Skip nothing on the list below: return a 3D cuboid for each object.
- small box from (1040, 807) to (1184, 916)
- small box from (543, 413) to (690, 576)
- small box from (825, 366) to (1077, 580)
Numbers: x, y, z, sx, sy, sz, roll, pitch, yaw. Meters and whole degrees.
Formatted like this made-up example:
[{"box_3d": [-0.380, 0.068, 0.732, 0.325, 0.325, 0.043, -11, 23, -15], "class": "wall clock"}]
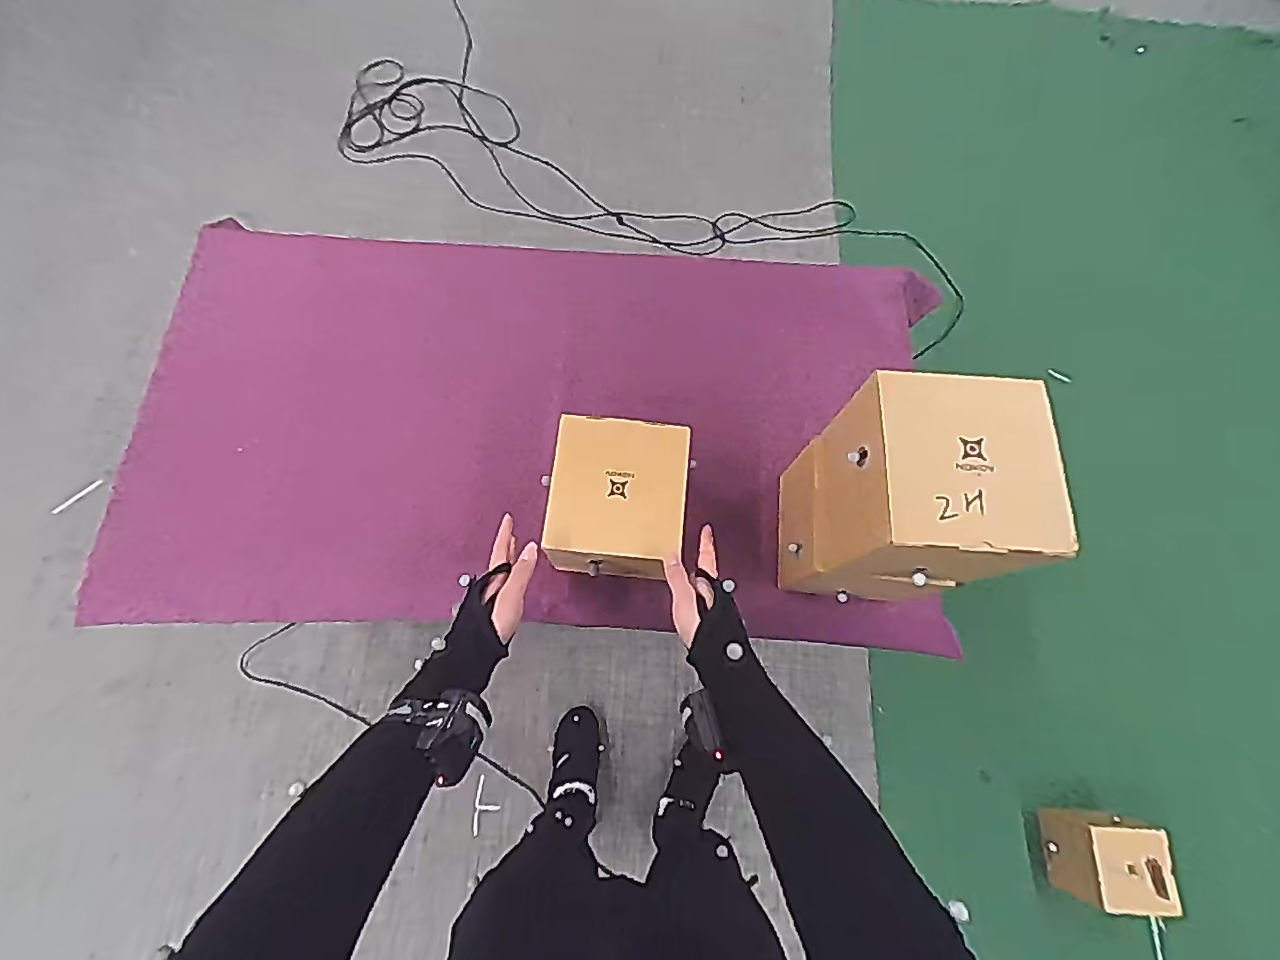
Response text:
[{"box_3d": [1.089, 0.880, 1.262, 0.179, 0.176, 0.168, 3, 72, 0], "class": "small box"}, {"box_3d": [-0.026, 0.029, 0.730, 0.168, 0.176, 0.179, 5, 71, 0], "class": "small box"}, {"box_3d": [0.304, 0.002, 0.573, 0.168, 0.176, 0.179, 4, 72, 1], "class": "small box"}]
